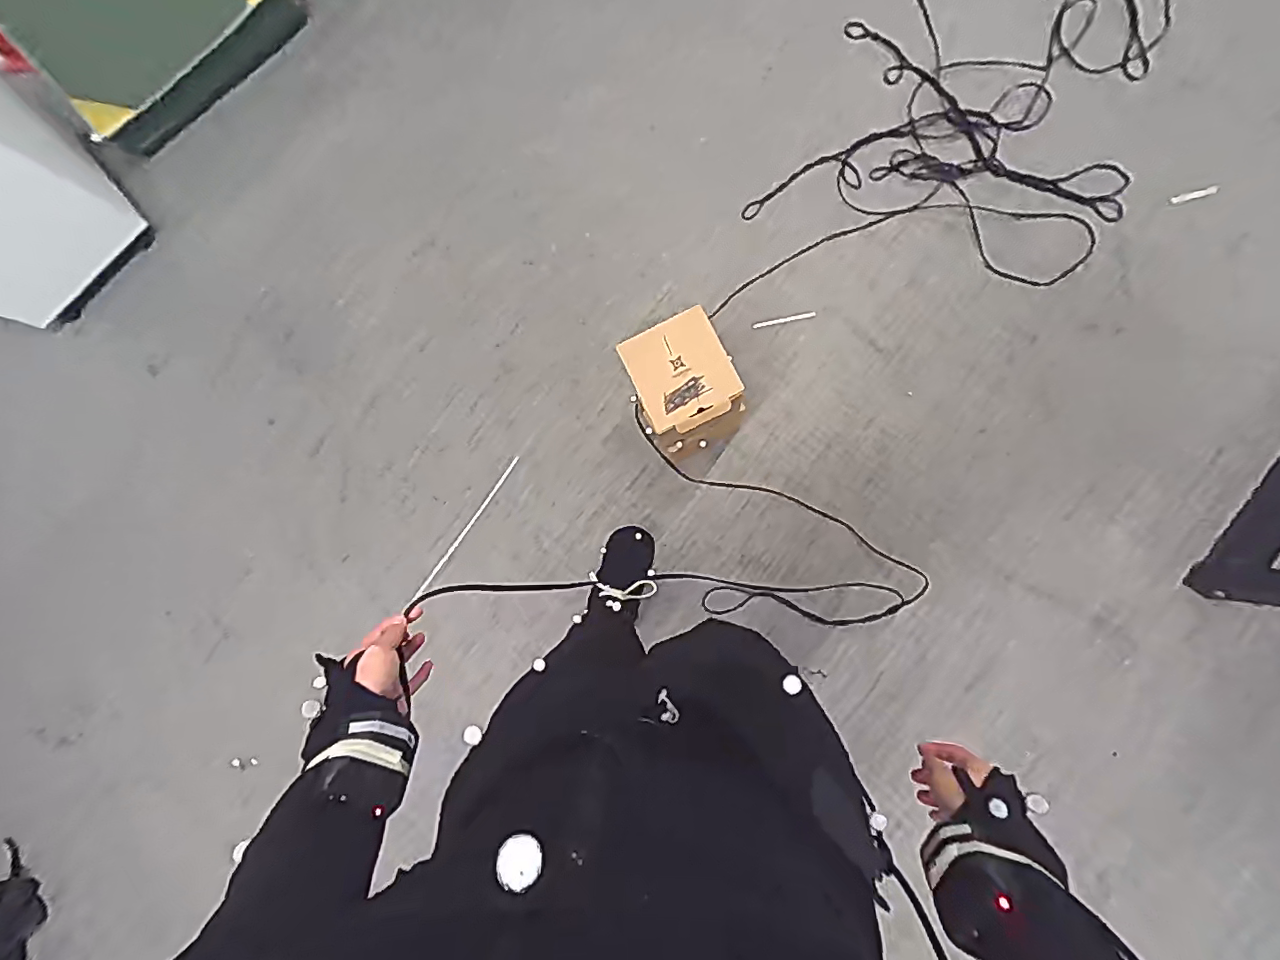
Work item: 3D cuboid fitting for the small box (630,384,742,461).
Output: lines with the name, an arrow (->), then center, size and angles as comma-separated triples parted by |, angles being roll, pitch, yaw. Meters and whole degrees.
small box -> 0.101, -0.157, 1.157 | 0.179, 0.176, 0.168 | -31, 81, 3

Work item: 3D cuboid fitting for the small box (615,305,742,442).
small box -> 0.074, -0.181, 0.996 | 0.168, 0.176, 0.179 | -26, 81, 3
